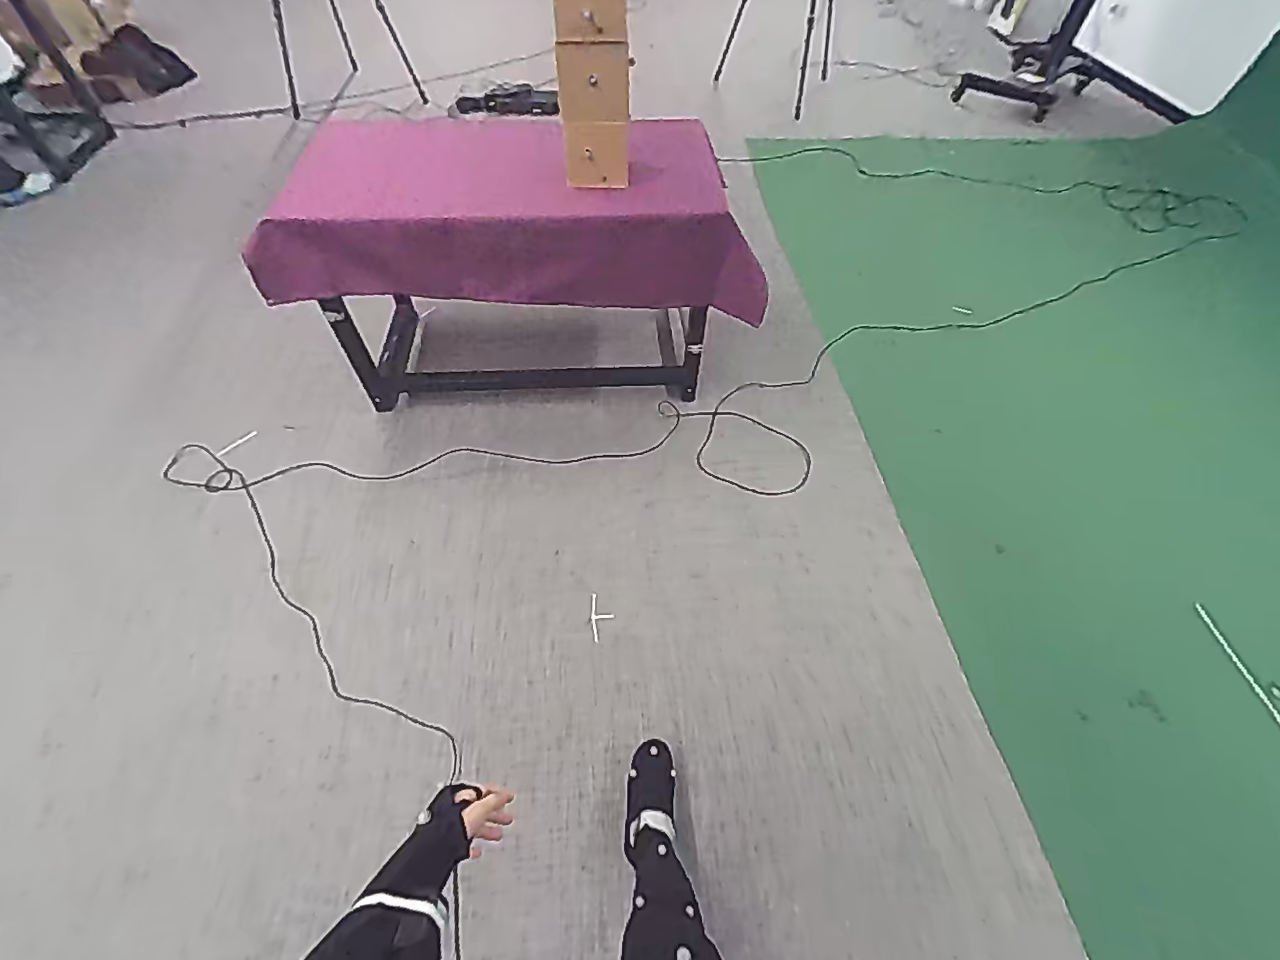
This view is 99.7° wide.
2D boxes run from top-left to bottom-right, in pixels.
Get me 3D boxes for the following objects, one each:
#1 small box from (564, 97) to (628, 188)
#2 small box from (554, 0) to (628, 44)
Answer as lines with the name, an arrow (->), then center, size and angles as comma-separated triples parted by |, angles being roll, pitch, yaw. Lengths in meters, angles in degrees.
small box -> -0.116, -0.934, 1.500 | 0.168, 0.176, 0.179 | -1, 53, -2
small box -> -0.111, -1.126, 1.233 | 0.168, 0.176, 0.179 | -2, 54, -2
